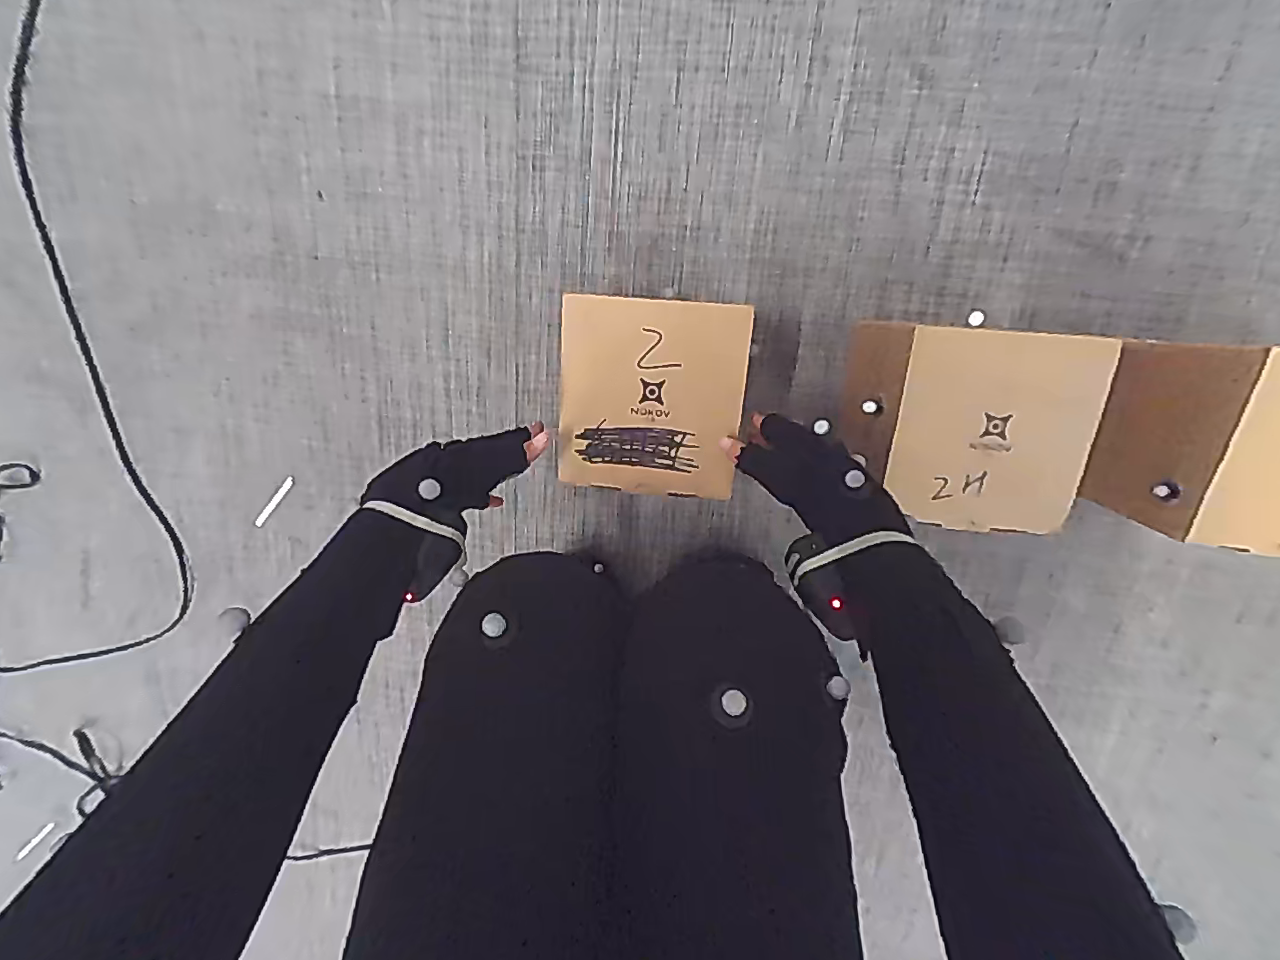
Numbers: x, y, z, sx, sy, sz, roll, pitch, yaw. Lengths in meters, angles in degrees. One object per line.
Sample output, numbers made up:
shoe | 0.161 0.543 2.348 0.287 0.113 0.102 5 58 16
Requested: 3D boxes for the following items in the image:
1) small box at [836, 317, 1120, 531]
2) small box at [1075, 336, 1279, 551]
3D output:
small box | 0.308 -0.067 0.540 0.168 0.176 0.179 5 108 5
small box | 0.575 -0.043 0.527 0.168 0.176 0.179 7 108 3
